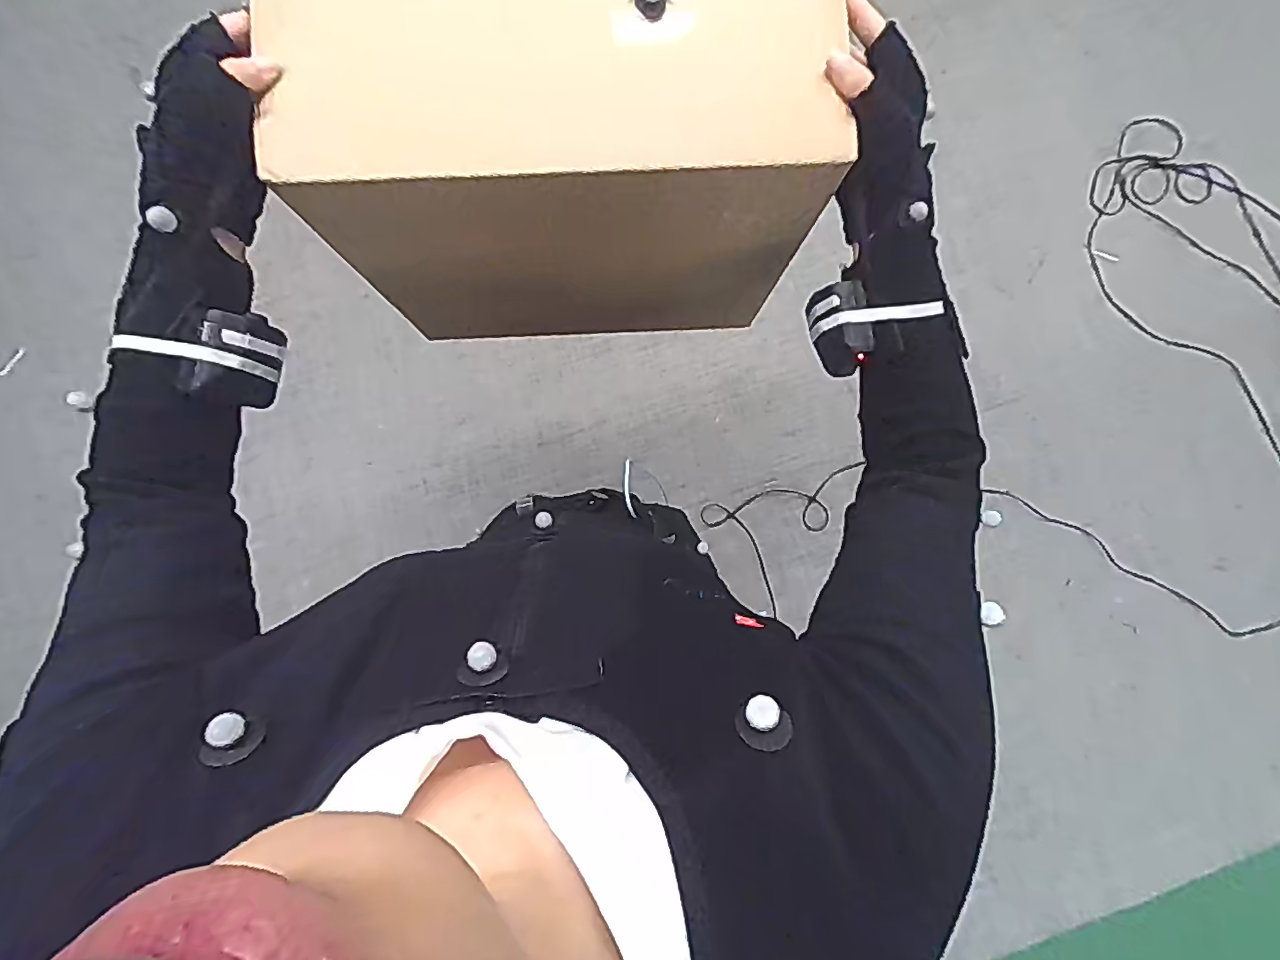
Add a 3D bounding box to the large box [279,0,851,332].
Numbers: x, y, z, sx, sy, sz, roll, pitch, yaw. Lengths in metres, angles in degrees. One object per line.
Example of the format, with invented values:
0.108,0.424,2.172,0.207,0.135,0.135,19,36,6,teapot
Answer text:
-0.065,-0.358,0.539,0.408,0.320,0.320,-4,86,-4,large box
